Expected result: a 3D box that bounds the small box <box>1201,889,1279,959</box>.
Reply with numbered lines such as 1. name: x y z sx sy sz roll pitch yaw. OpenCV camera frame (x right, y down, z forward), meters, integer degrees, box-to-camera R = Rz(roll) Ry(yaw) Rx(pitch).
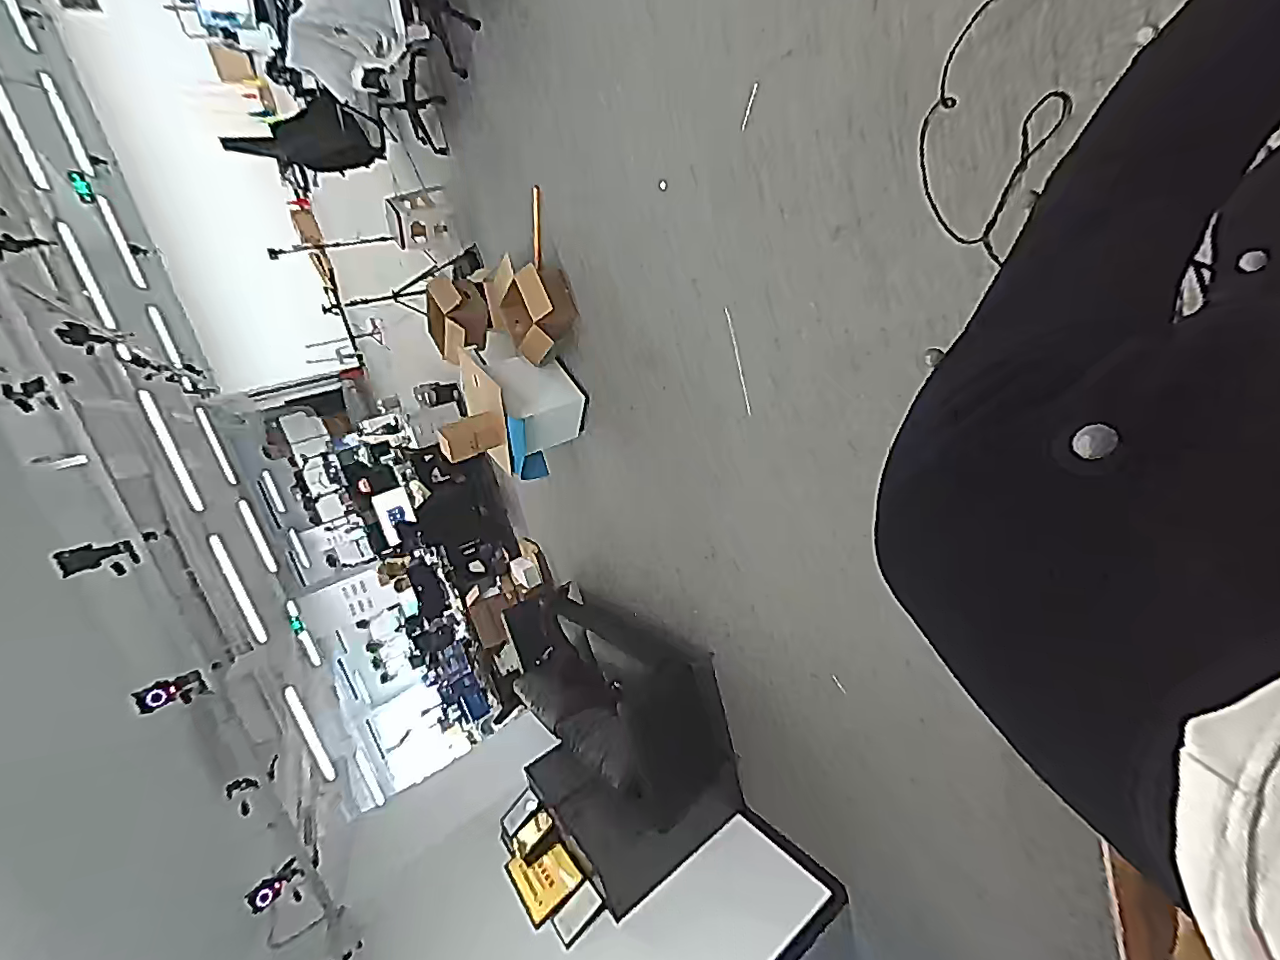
1. small box: 1.210 0.947 1.032 0.168 0.176 0.179 3 114 58
